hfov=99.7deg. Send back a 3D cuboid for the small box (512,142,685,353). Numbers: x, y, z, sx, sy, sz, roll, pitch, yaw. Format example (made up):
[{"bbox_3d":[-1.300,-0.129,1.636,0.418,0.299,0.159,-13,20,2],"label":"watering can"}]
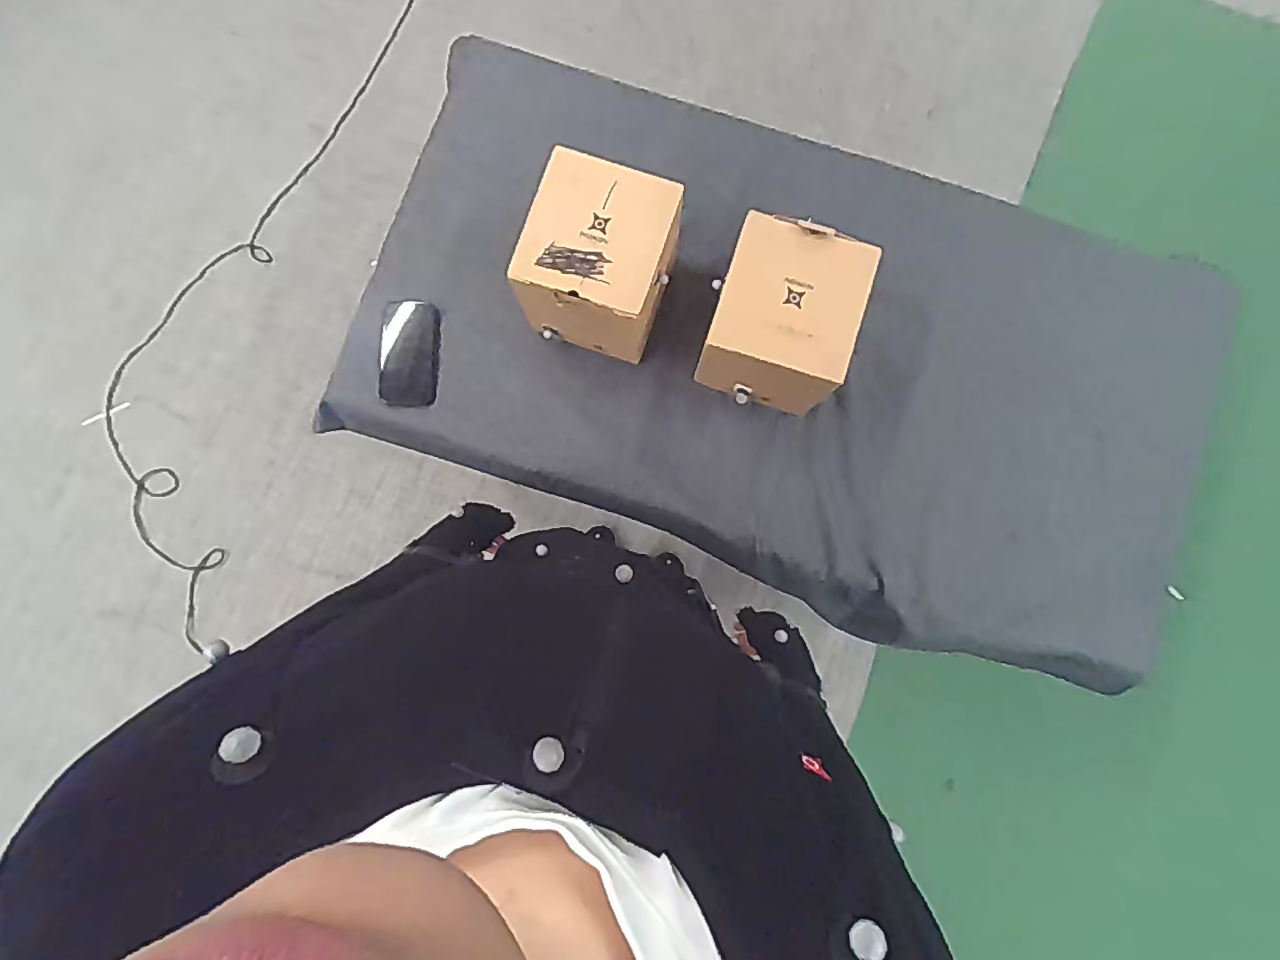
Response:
[{"bbox_3d":[-0.048,-0.292,0.717,0.168,0.176,0.179,18,83,2],"label":"small box"}]

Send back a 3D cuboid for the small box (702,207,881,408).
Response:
[{"bbox_3d":[0.185,-0.214,0.714,0.168,0.176,0.179,17,86,3],"label":"small box"}]
